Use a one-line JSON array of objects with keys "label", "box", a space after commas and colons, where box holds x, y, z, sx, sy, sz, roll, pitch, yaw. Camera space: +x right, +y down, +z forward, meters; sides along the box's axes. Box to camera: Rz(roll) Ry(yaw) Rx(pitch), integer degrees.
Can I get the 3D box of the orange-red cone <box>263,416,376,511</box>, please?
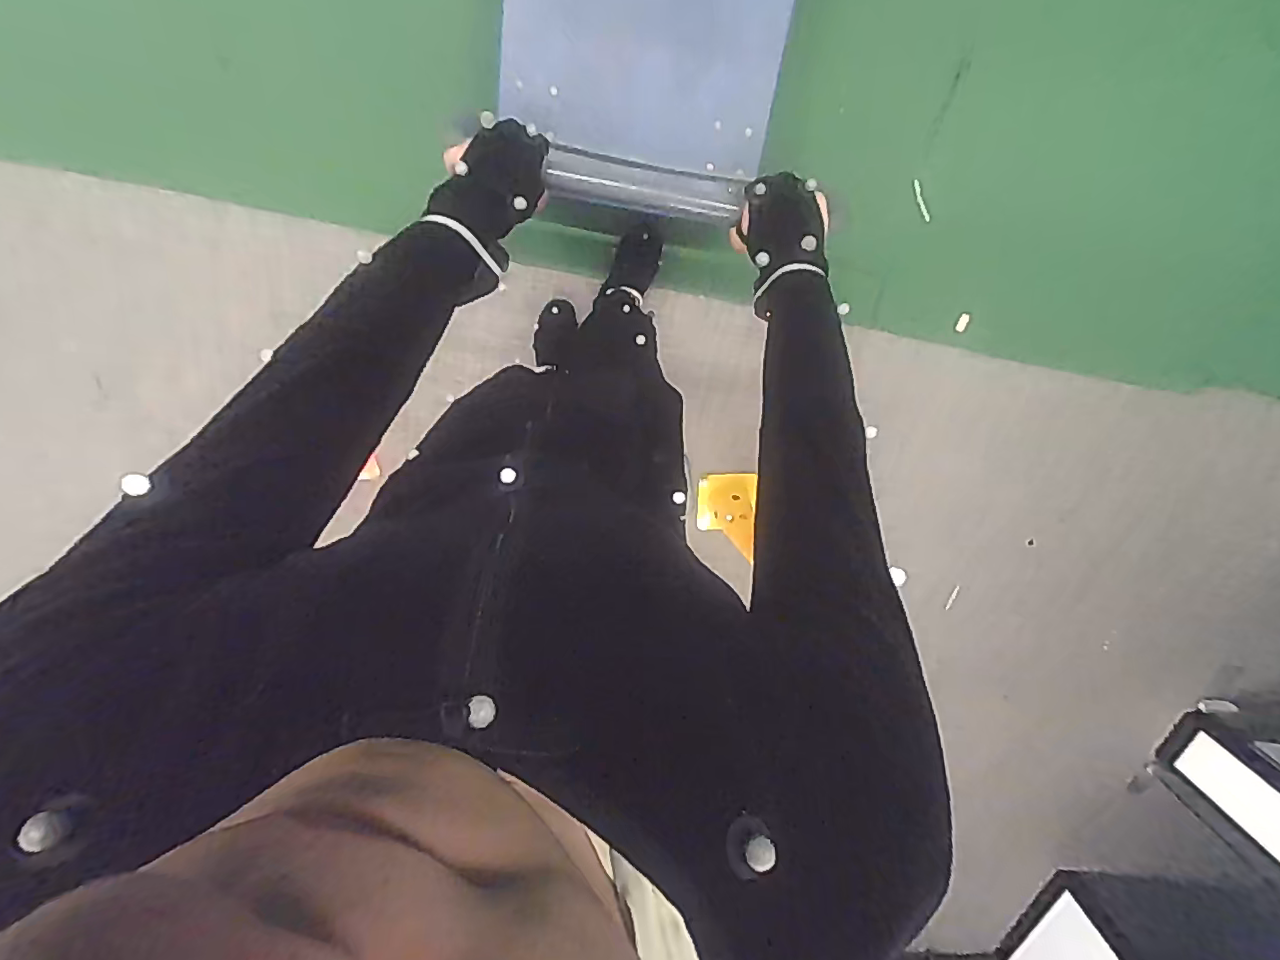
[{"label": "orange-red cone", "box": [-0.862, -0.016, 1.400, 0.199, 0.360, 0.198, -5, 115, -2]}]
